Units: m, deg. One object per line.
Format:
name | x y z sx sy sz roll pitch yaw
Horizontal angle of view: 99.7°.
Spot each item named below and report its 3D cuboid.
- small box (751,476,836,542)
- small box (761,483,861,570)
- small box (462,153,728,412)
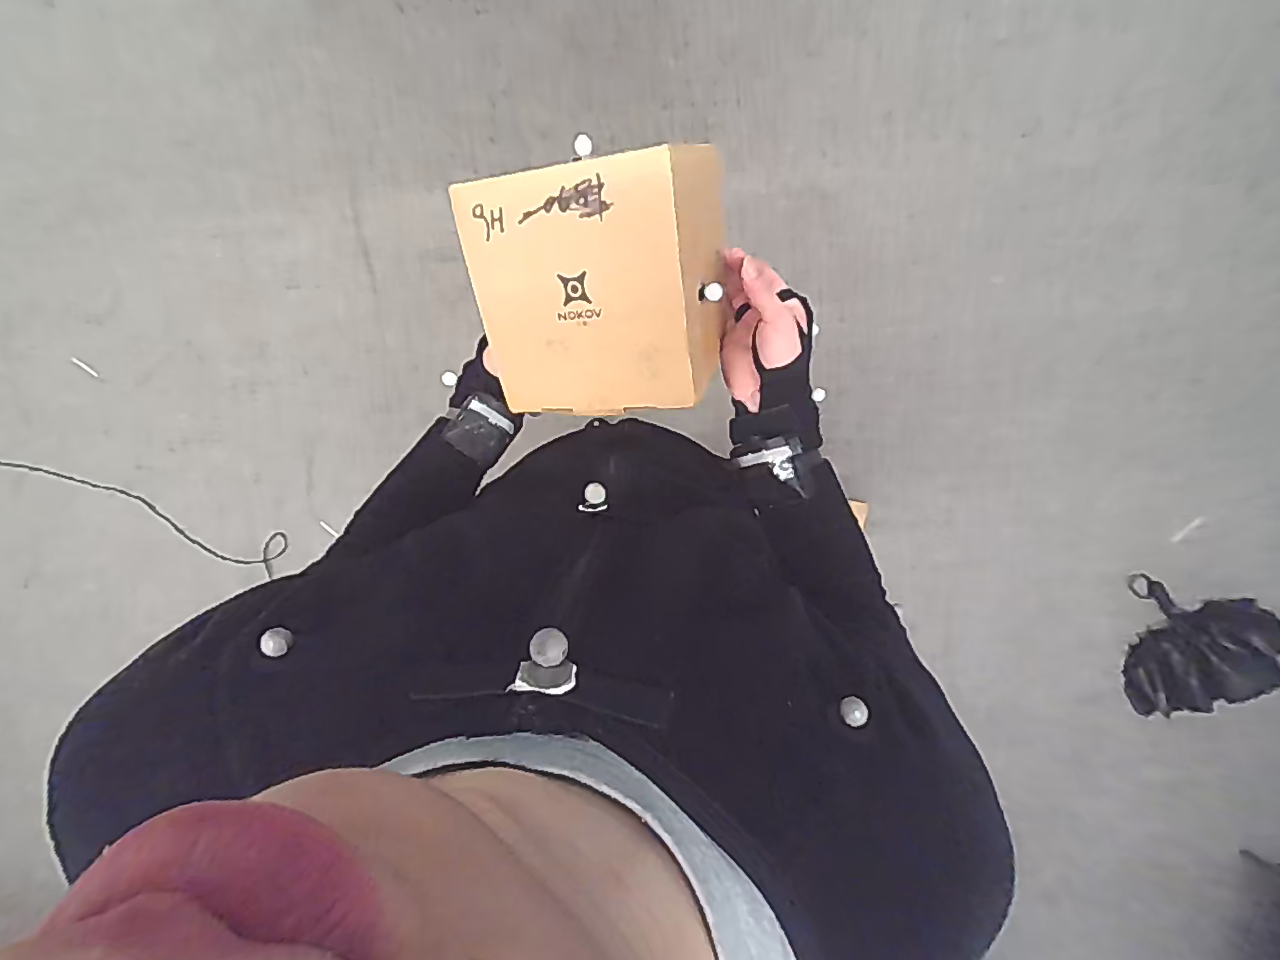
small box | 0.416 0.086 1.490 0.179 0.176 0.168 8 96 2
small box | 0.411 0.107 1.327 0.179 0.176 0.168 9 96 1
small box | -0.019 -0.173 0.474 0.168 0.176 0.179 1 121 18
